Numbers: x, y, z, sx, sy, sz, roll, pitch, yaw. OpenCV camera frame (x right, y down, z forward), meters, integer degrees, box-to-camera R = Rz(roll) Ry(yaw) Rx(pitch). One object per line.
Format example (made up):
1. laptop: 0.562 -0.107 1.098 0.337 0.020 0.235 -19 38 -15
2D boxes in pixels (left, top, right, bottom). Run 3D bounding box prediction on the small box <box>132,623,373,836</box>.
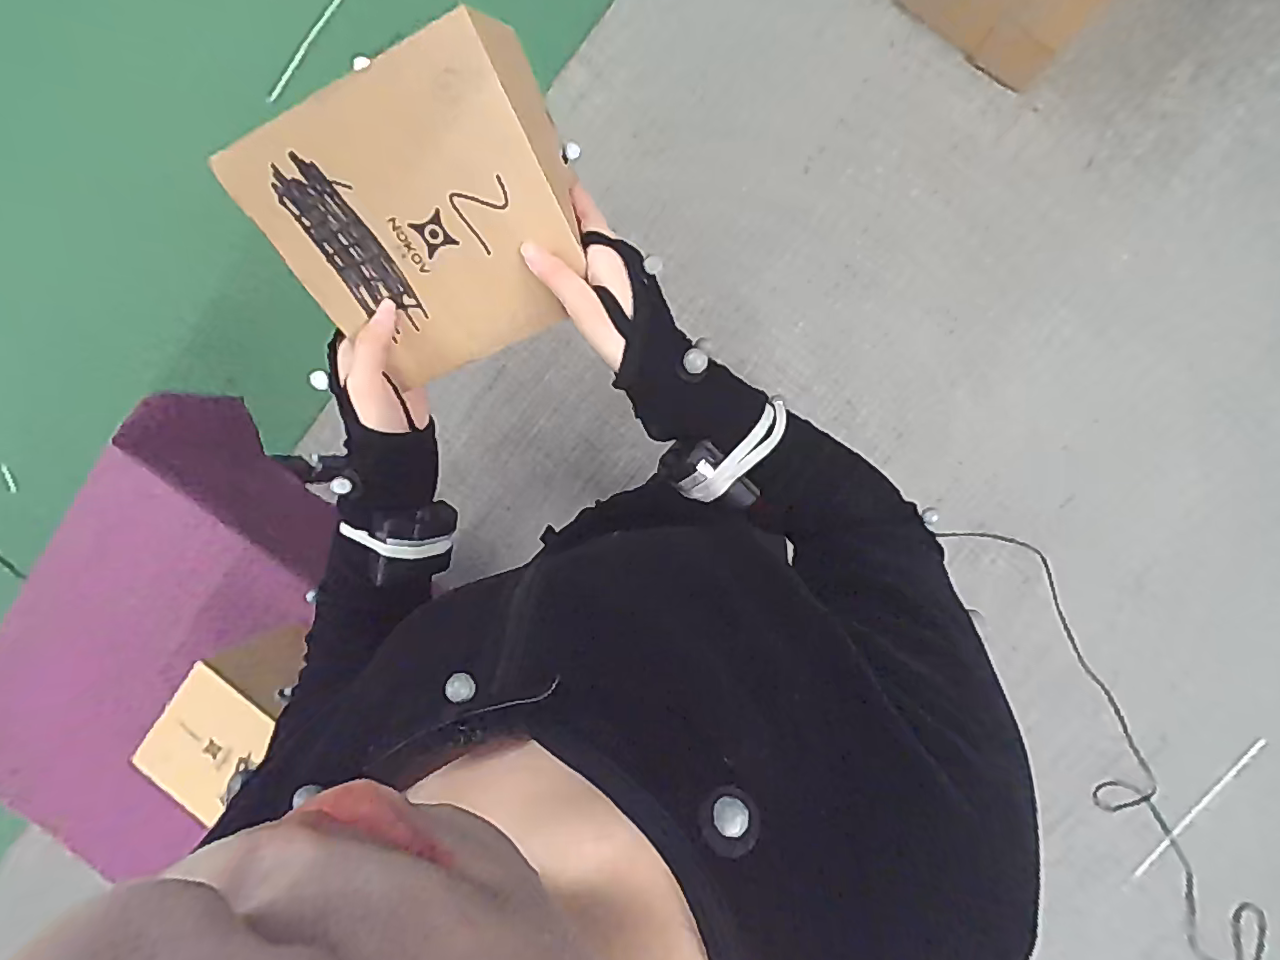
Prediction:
1. small box: -0.515 0.326 0.747 0.179 0.176 0.168 38 95 3
